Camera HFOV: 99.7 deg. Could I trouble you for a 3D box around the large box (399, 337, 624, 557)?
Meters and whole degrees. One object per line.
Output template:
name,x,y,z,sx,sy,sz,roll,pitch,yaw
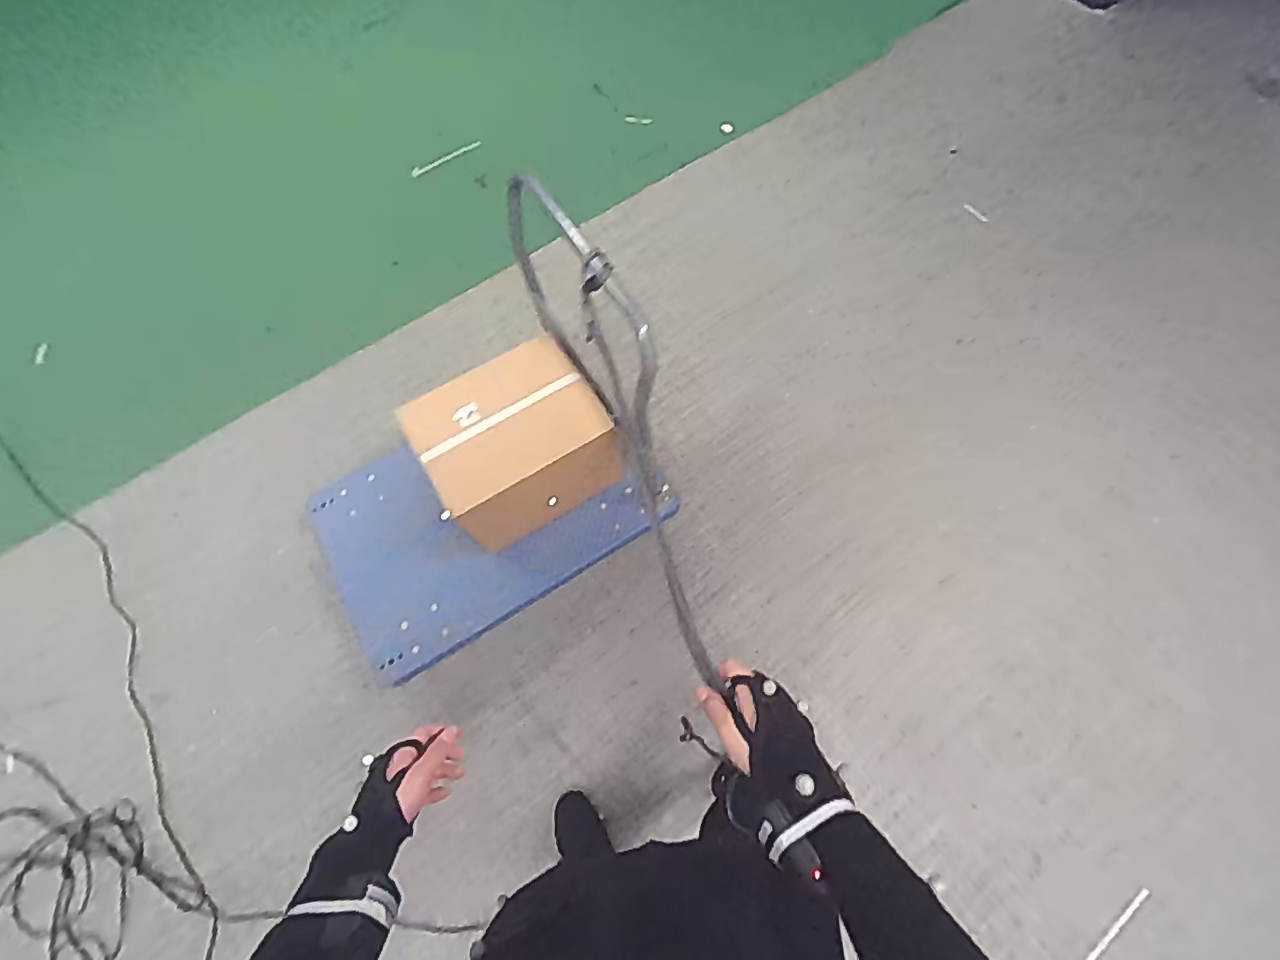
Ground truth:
large box,-0.290,-0.068,1.334,0.408,0.320,0.320,-31,70,-10
